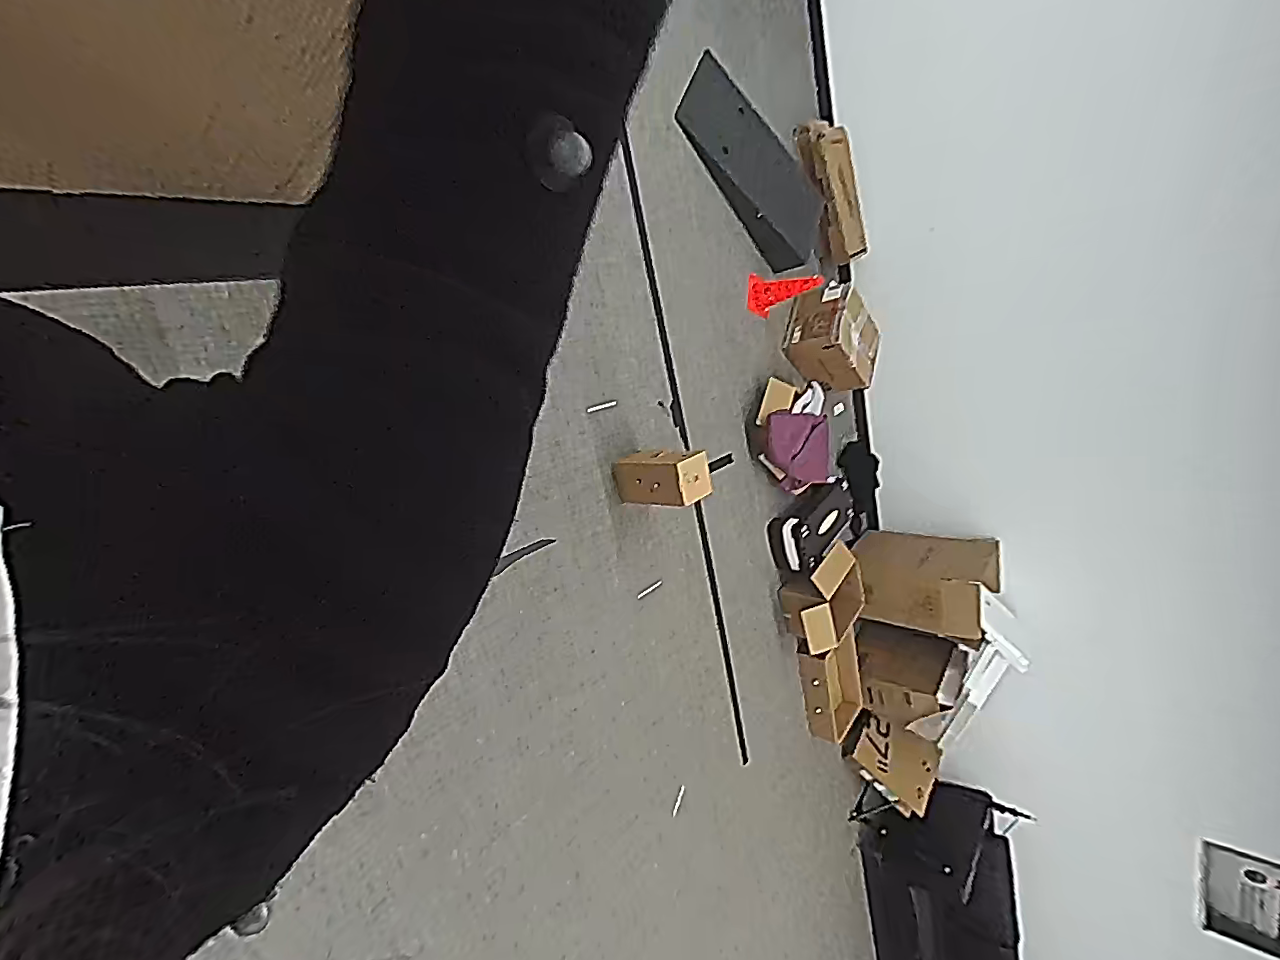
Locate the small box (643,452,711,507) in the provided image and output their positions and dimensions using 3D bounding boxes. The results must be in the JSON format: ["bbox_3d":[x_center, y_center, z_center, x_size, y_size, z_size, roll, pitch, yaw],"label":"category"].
[{"bbox_3d":[0.138,-0.007,2.027,0.179,0.176,0.168,-24,108,-43],"label":"small box"}]

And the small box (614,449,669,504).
[{"bbox_3d":[0.017,-0.014,2.139,0.168,0.176,0.179,-29,112,-42],"label":"small box"}]
